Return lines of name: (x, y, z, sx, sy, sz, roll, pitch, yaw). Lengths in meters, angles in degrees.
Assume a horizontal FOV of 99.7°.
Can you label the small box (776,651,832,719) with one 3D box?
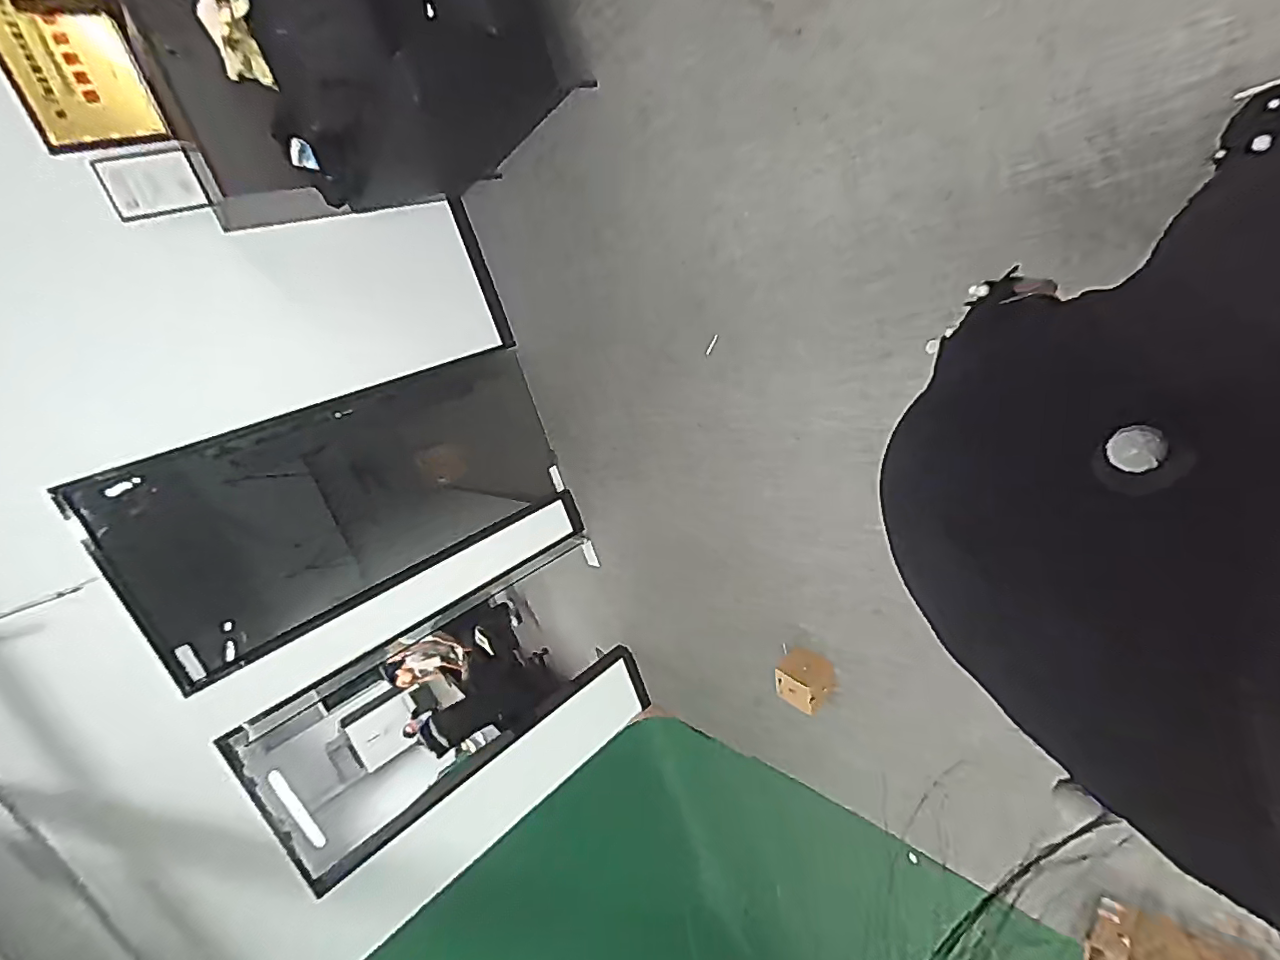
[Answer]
small box: (0.698, 0.860, 2.287, 0.179, 0.176, 0.168, 19, 128, 45)
